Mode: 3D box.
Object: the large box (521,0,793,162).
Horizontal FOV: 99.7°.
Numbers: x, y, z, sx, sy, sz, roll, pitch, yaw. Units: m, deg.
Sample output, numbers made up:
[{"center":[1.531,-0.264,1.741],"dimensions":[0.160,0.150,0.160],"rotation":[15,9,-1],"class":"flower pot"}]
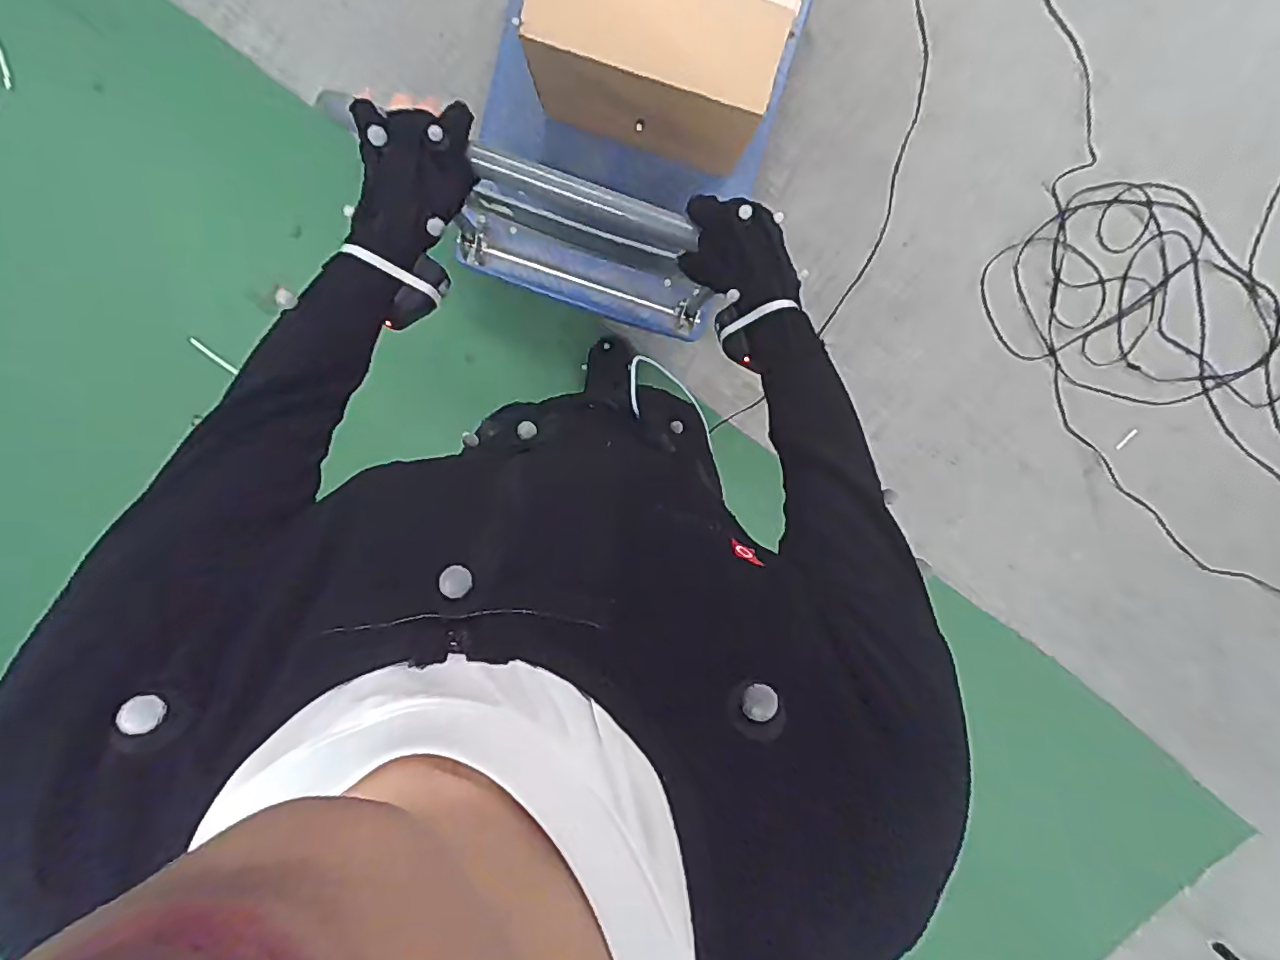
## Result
[{"center":[0.042,-0.823,0.958],"dimensions":[0.408,0.320,0.320],"rotation":[15,102,-5],"class":"large box"}]
